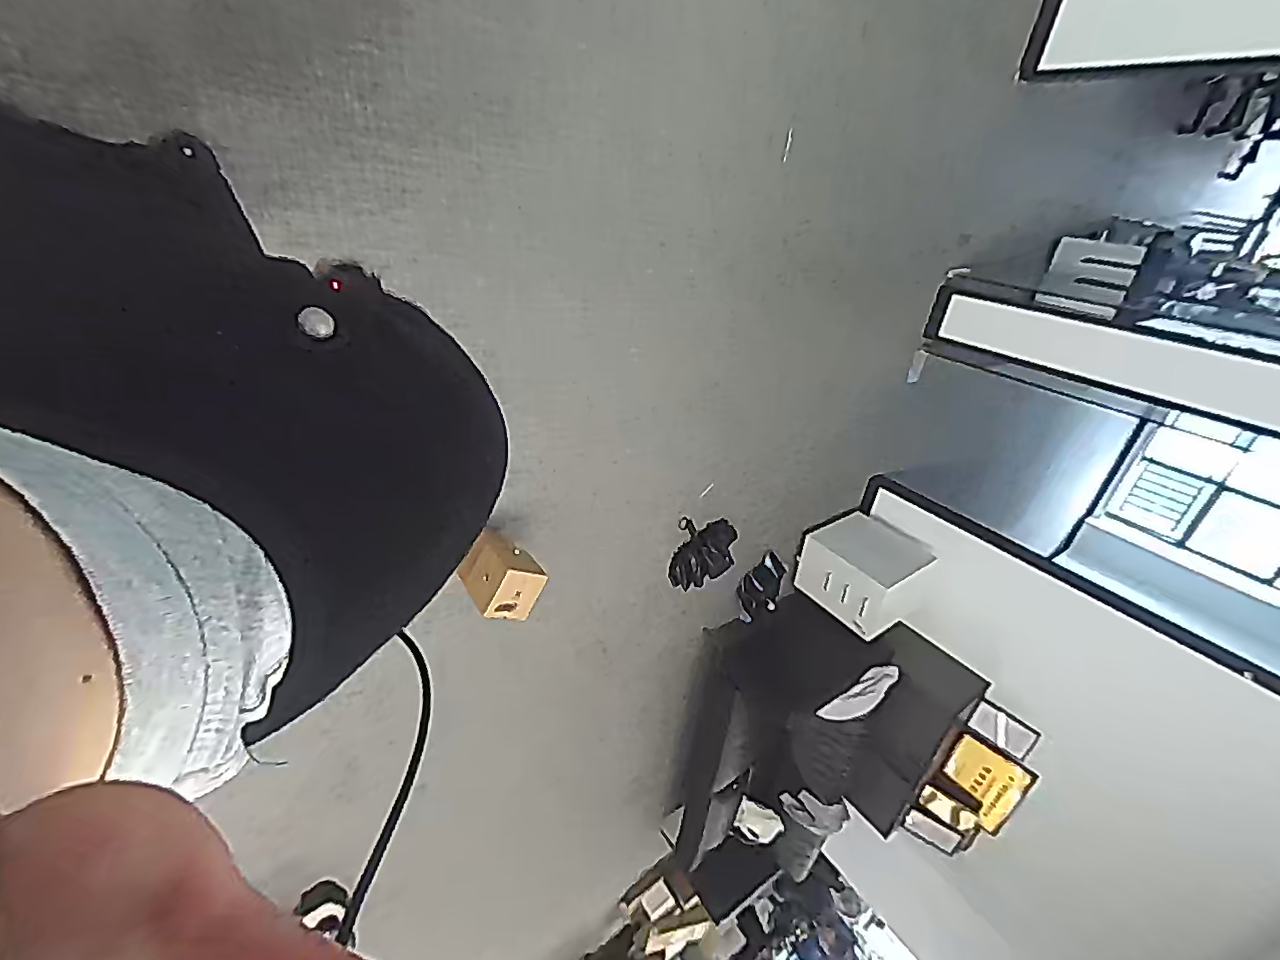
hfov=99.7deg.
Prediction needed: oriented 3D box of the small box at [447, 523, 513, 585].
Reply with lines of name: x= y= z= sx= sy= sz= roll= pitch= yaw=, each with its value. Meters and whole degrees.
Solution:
small box: x=-0.539 y=0.276 z=1.891 sx=0.168 sy=0.176 sz=0.179 roll=-52 pitch=136 yaw=-2

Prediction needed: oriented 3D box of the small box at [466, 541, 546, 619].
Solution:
small box: x=-0.444 y=0.326 z=1.764 sx=0.168 sy=0.176 sz=0.179 roll=22 pitch=100 yaw=-47
